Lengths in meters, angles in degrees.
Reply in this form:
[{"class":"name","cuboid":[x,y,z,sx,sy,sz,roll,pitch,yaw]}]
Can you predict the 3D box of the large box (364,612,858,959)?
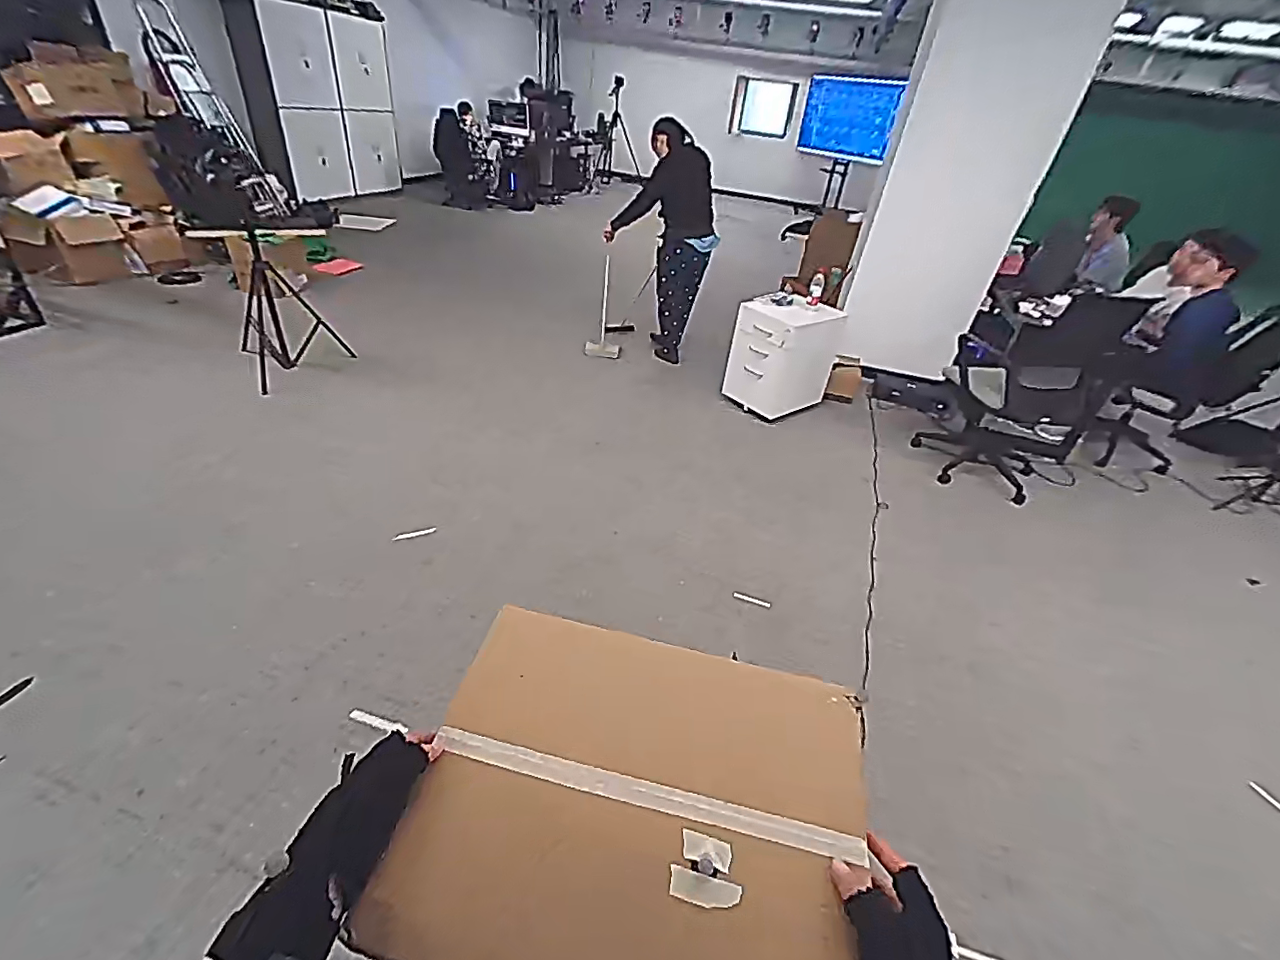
[{"class":"large box","cuboid":[-0.009,0.402,0.617,0.408,0.320,0.320,12,44,8]}]
